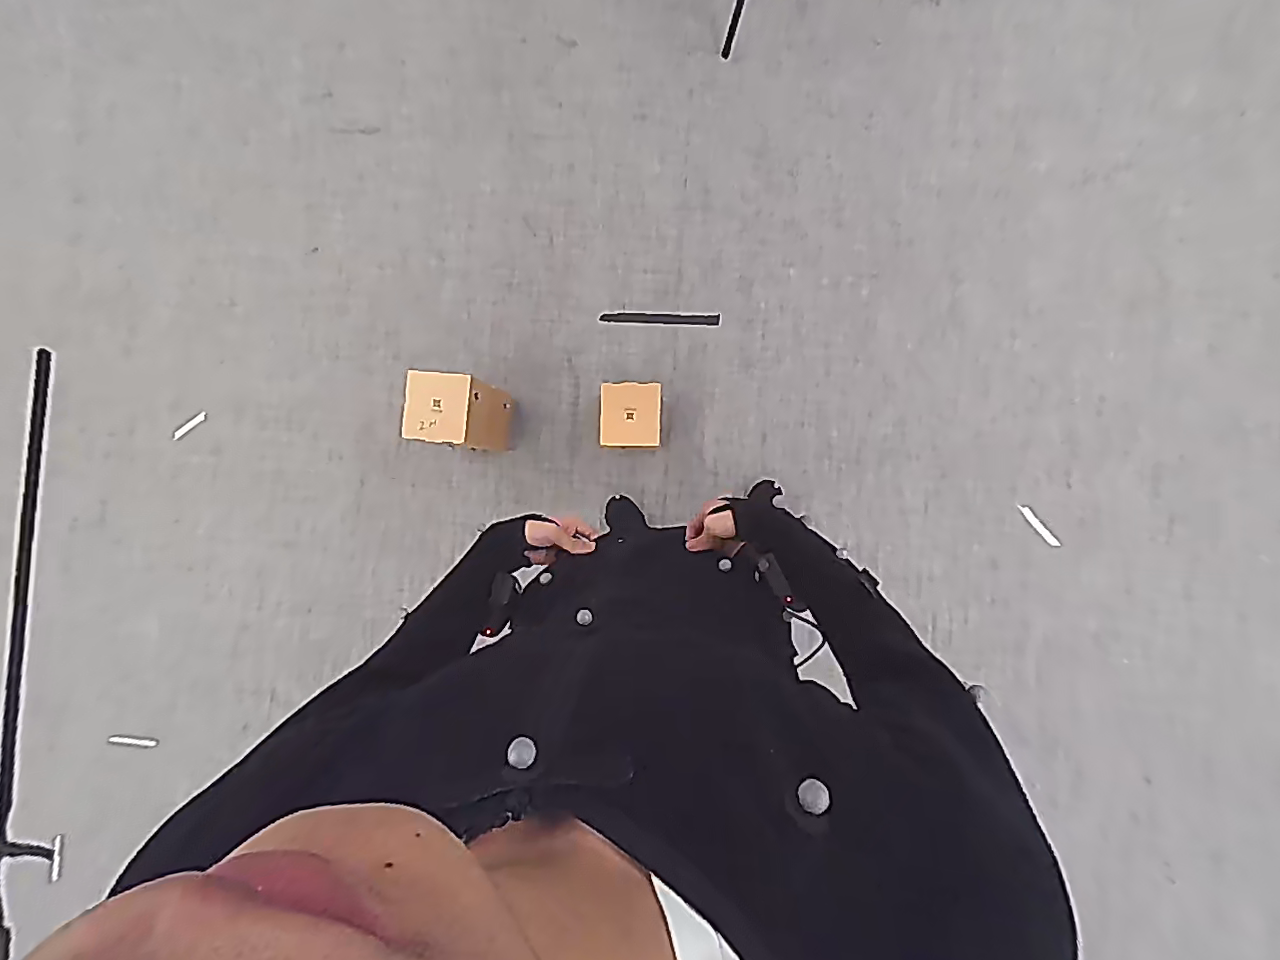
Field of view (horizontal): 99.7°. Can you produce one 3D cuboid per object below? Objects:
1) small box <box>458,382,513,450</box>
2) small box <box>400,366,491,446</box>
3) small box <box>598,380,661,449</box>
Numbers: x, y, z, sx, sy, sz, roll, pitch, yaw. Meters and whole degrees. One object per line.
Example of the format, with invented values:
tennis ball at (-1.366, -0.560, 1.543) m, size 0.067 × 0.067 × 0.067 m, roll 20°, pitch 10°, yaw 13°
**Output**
small box at (-0.480, -0.187, 1.575) m, size 0.168 × 0.176 × 0.179 m, roll 7°, pitch 89°, yaw 5°
small box at (-0.499, -0.188, 1.411) m, size 0.168 × 0.176 × 0.179 m, roll 6°, pitch 90°, yaw 5°
small box at (-0.025, -0.182, 1.547) m, size 0.168 × 0.176 × 0.179 m, roll 1°, pitch 88°, yaw 4°
